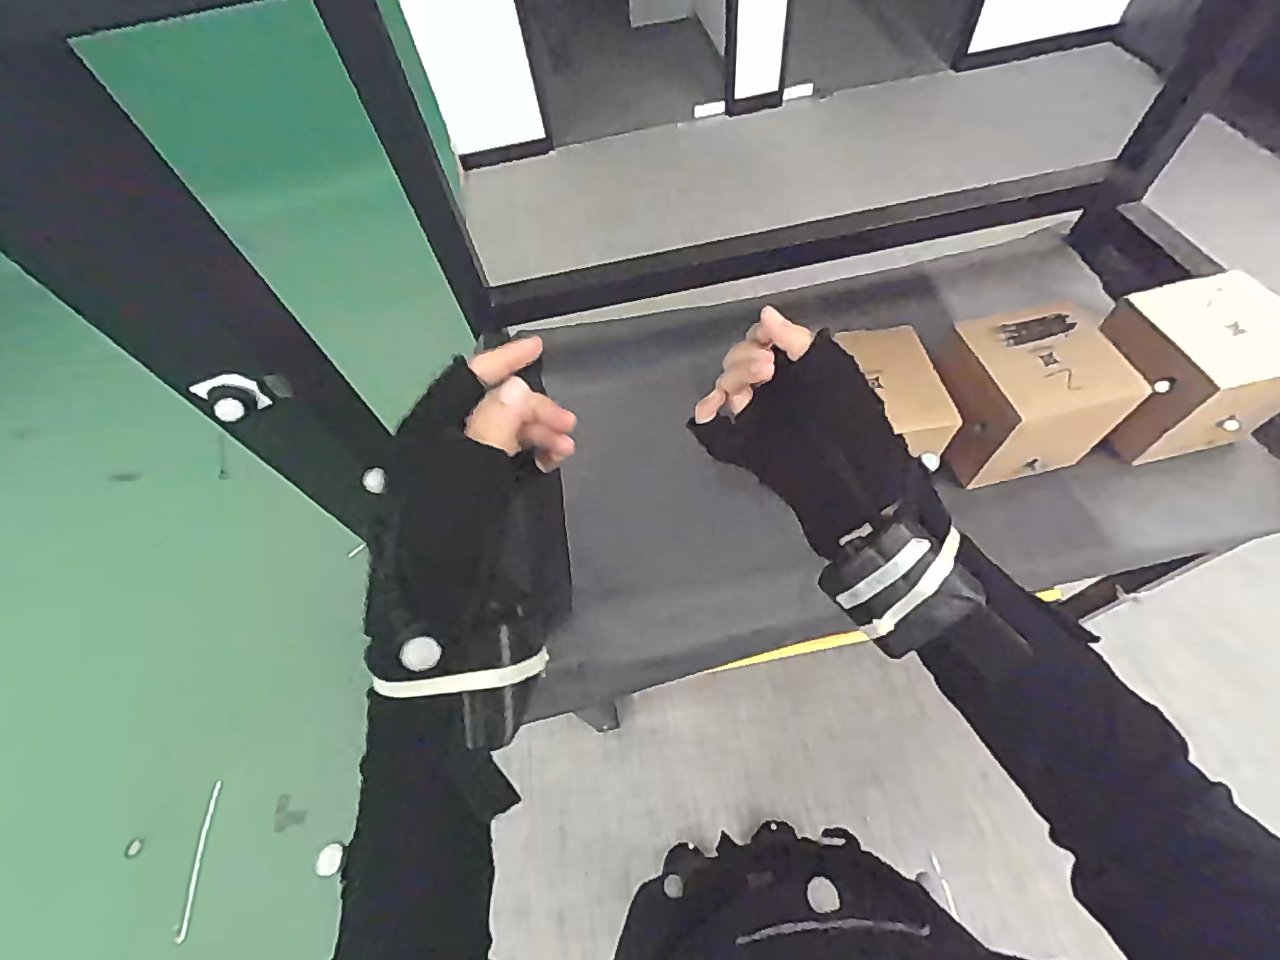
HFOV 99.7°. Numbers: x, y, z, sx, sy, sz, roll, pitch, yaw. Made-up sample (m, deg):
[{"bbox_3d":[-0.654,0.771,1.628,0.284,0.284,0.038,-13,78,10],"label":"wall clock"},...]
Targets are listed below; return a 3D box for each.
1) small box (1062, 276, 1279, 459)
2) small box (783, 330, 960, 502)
[{"bbox_3d":[0.755,-0.146,0.752,0.168,0.176,0.179,-13,57,-2],"label":"small box"},{"bbox_3d":[0.312,-0.081,0.771,0.168,0.176,0.179,-8,58,2],"label":"small box"}]
